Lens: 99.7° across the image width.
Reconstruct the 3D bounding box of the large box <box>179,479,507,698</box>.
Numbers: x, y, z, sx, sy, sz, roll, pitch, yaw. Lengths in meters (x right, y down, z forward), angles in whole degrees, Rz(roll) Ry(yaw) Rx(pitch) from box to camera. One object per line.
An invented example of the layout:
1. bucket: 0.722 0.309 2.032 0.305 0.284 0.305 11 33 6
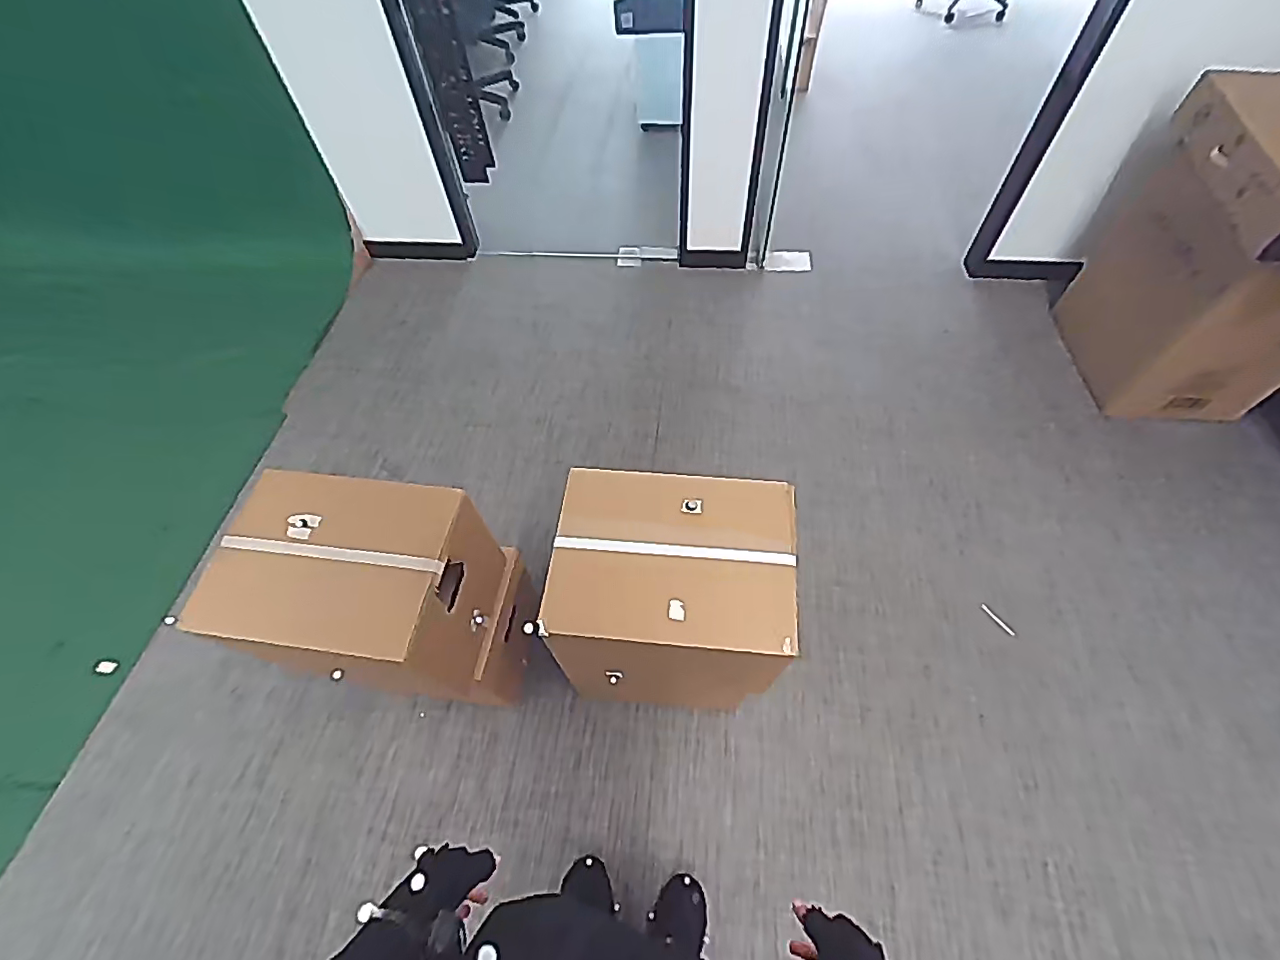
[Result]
1. large box: -0.524 0.219 1.055 0.408 0.320 0.320 5 58 8
